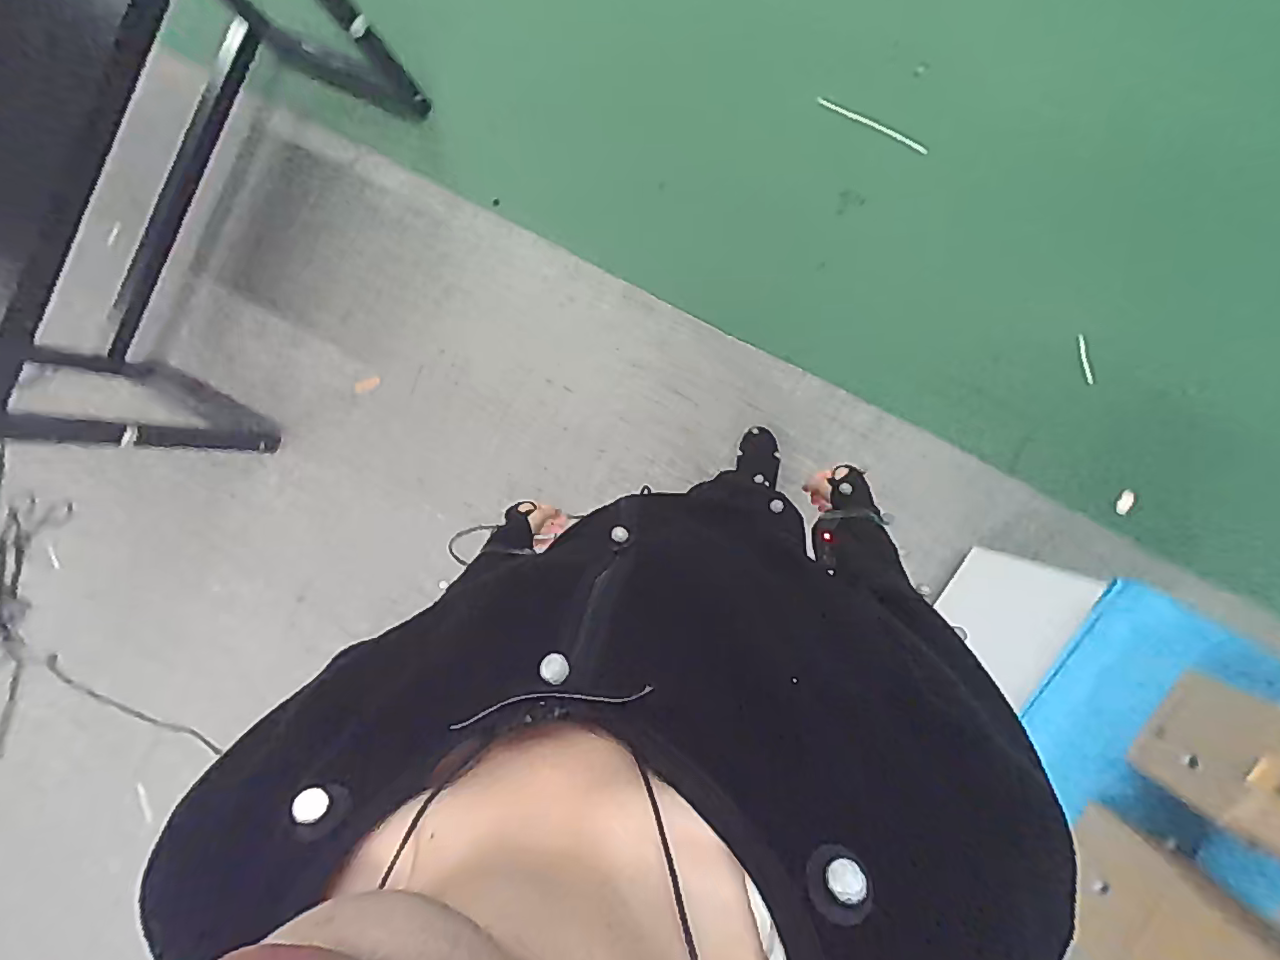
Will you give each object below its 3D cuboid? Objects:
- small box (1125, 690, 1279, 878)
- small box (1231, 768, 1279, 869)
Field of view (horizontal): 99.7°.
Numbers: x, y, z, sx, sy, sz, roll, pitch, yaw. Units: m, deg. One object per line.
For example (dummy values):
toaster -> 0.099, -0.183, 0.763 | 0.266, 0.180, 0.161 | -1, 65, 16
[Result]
small box -> 0.826, 0.412, 0.725 | 0.179, 0.176, 0.168 | 32, 96, 6
small box -> 0.811, 0.404, 0.564 | 0.179, 0.176, 0.168 | 34, 95, 5
